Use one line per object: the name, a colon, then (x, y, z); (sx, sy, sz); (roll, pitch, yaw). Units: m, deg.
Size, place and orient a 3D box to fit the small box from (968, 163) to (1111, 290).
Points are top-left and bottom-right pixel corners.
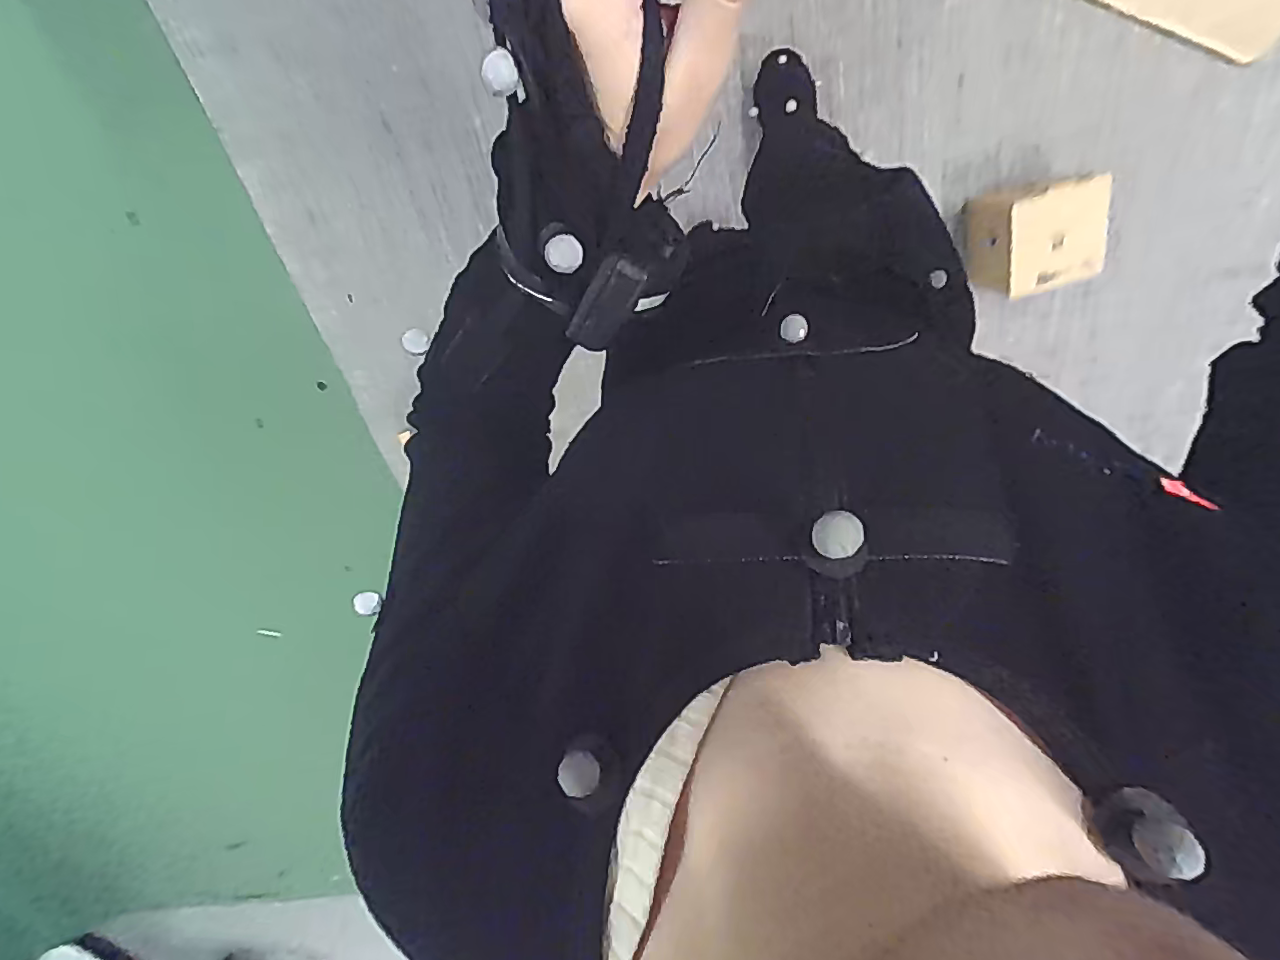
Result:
small box: (0.766, -0.494, 1.055); (0.168, 0.176, 0.179); (-15, 117, 11)
